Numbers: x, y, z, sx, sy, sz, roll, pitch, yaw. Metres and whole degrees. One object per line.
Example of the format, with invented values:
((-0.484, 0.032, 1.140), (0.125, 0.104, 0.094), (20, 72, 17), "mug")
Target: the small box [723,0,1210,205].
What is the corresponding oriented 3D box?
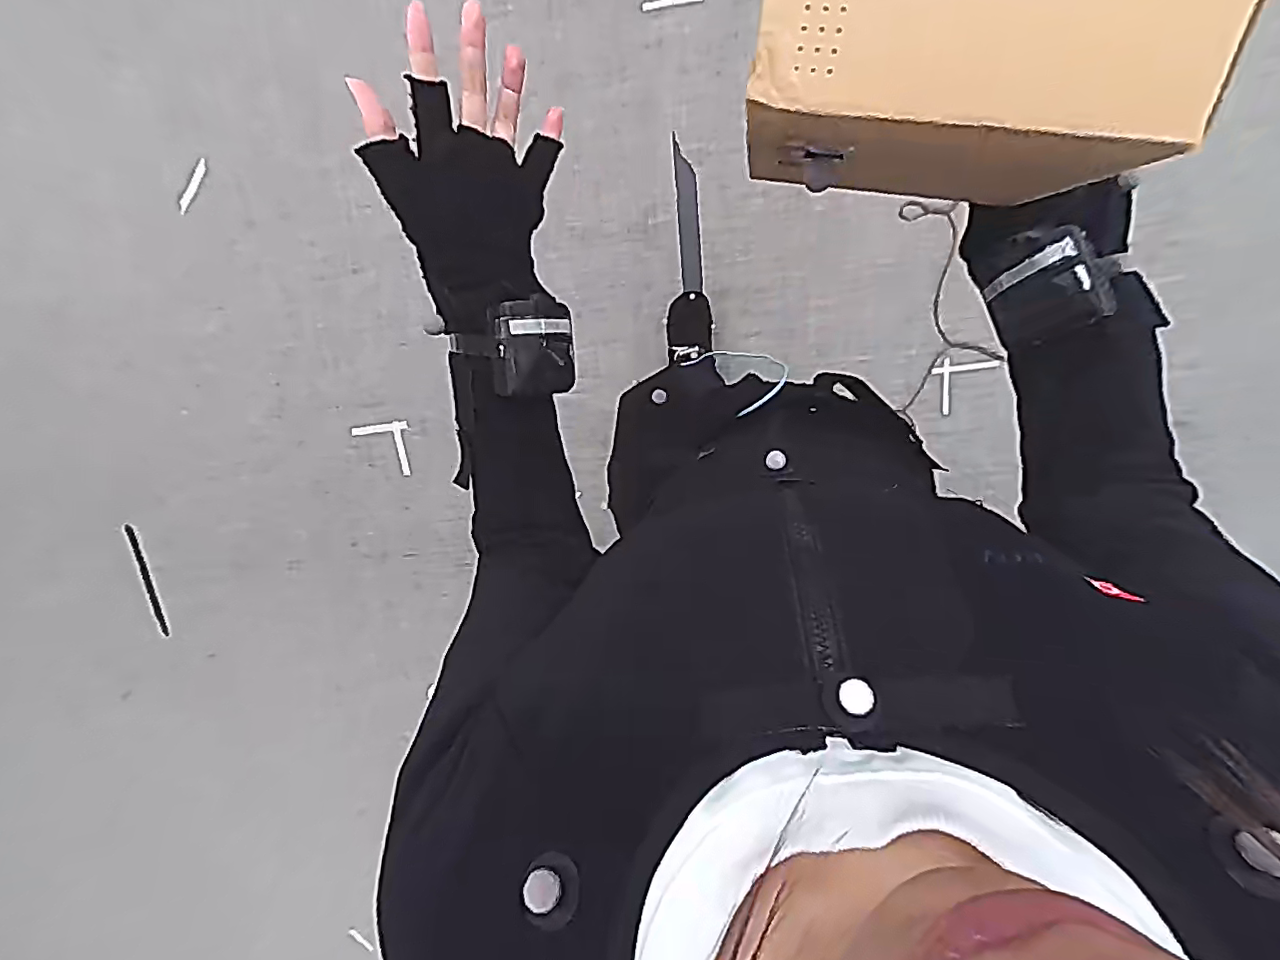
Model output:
((0.136, -0.246, 0.258), (0.176, 0.168, 0.179), (11, 111, 10), "small box")
